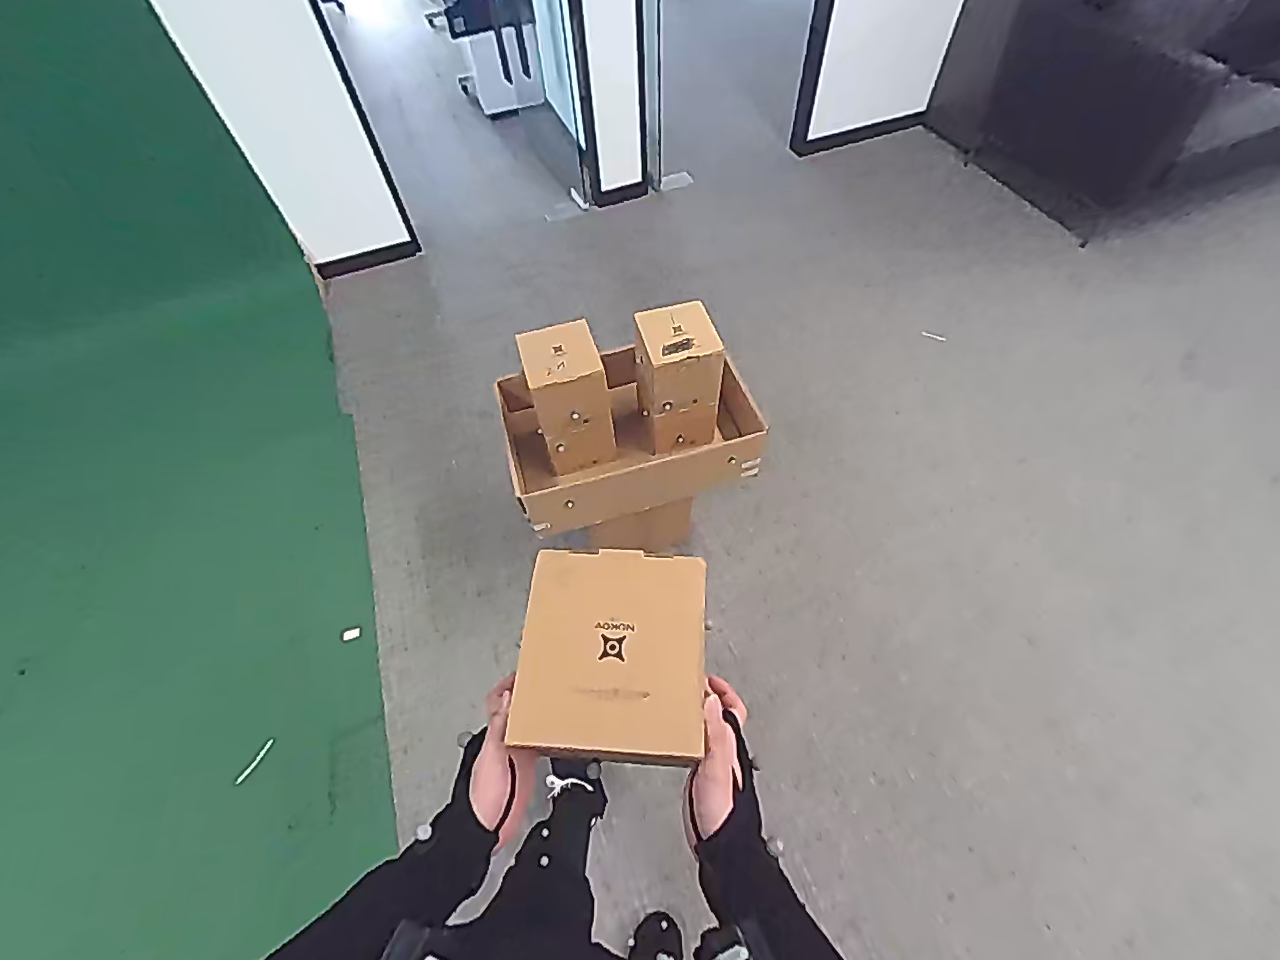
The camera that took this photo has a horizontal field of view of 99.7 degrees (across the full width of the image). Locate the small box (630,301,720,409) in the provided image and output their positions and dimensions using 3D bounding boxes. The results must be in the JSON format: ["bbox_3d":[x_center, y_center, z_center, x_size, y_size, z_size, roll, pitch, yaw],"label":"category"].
[{"bbox_3d":[0.080,-0.284,1.267,0.168,0.176,0.179,-13,57,-6],"label":"small box"}]

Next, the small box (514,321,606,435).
[{"bbox_3d":[-0.181,-0.232,1.242,0.168,0.176,0.179,-16,57,-7],"label":"small box"}]

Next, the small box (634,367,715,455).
[{"bbox_3d":[0.085,-0.192,1.404,0.168,0.176,0.179,-14,58,-7],"label":"small box"}]

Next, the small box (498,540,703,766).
[{"bbox_3d":[-0.027,0.178,0.544,0.168,0.176,0.179,3,59,3],"label":"small box"}]
